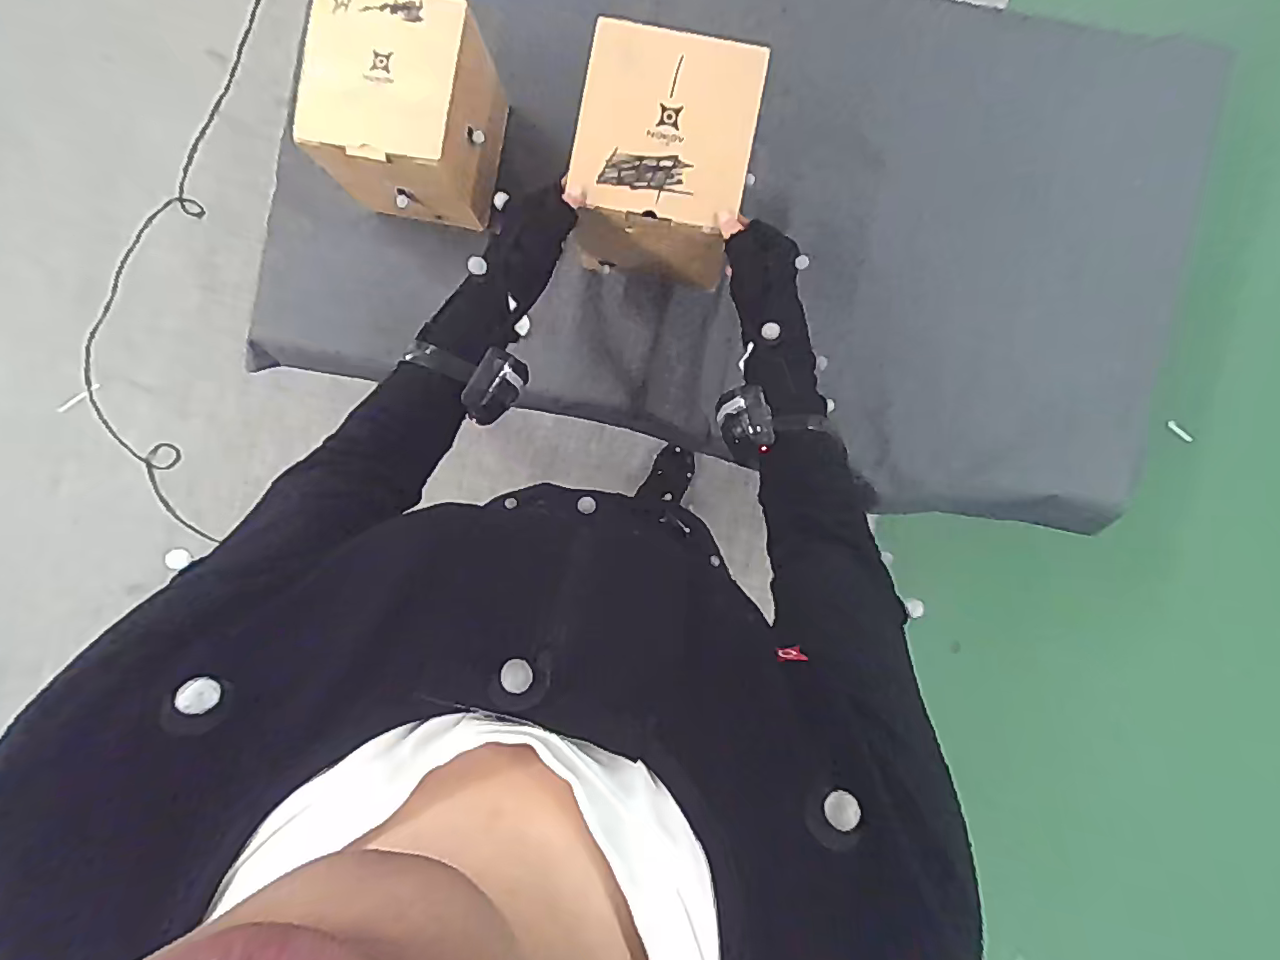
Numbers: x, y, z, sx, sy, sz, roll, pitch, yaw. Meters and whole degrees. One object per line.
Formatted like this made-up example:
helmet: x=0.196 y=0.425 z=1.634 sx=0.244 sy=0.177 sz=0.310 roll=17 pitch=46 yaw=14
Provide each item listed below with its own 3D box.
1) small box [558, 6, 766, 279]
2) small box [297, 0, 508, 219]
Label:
small box: x=0.022 y=-0.339 z=0.580 sx=0.168 sy=0.176 sz=0.179 roll=12 pitch=91 yaw=0
small box: x=-0.273 y=-0.446 z=0.657 sx=0.168 sy=0.176 sz=0.179 roll=11 pitch=93 yaw=2
